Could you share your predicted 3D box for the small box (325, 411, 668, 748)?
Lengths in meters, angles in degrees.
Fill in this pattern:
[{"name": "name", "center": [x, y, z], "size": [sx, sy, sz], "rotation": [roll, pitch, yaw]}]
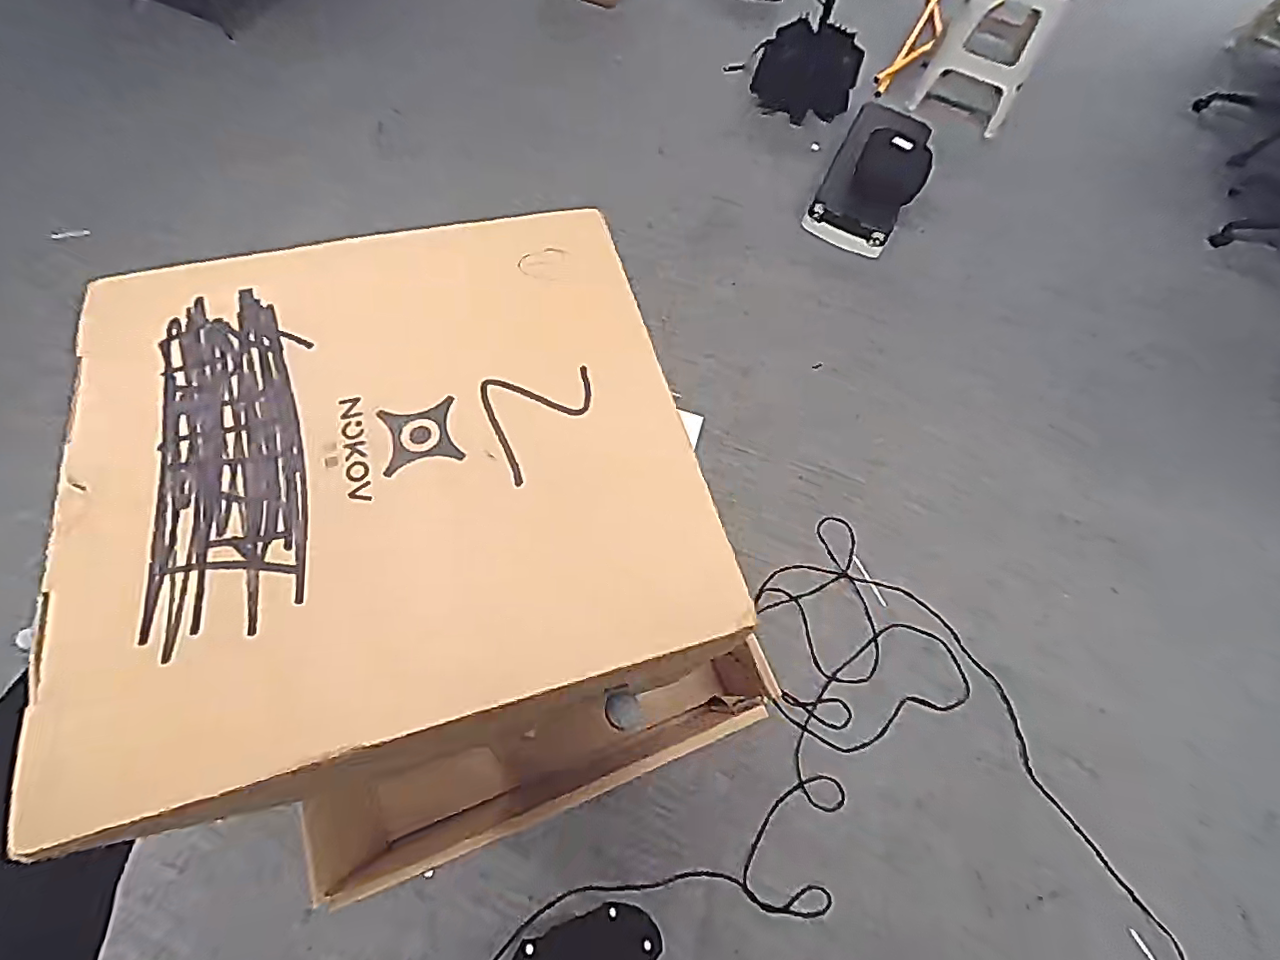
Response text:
[{"name": "small box", "center": [-0.095, 0.078, 0.399], "size": [0.179, 0.176, 0.168], "rotation": [-18, 67, -11]}]
